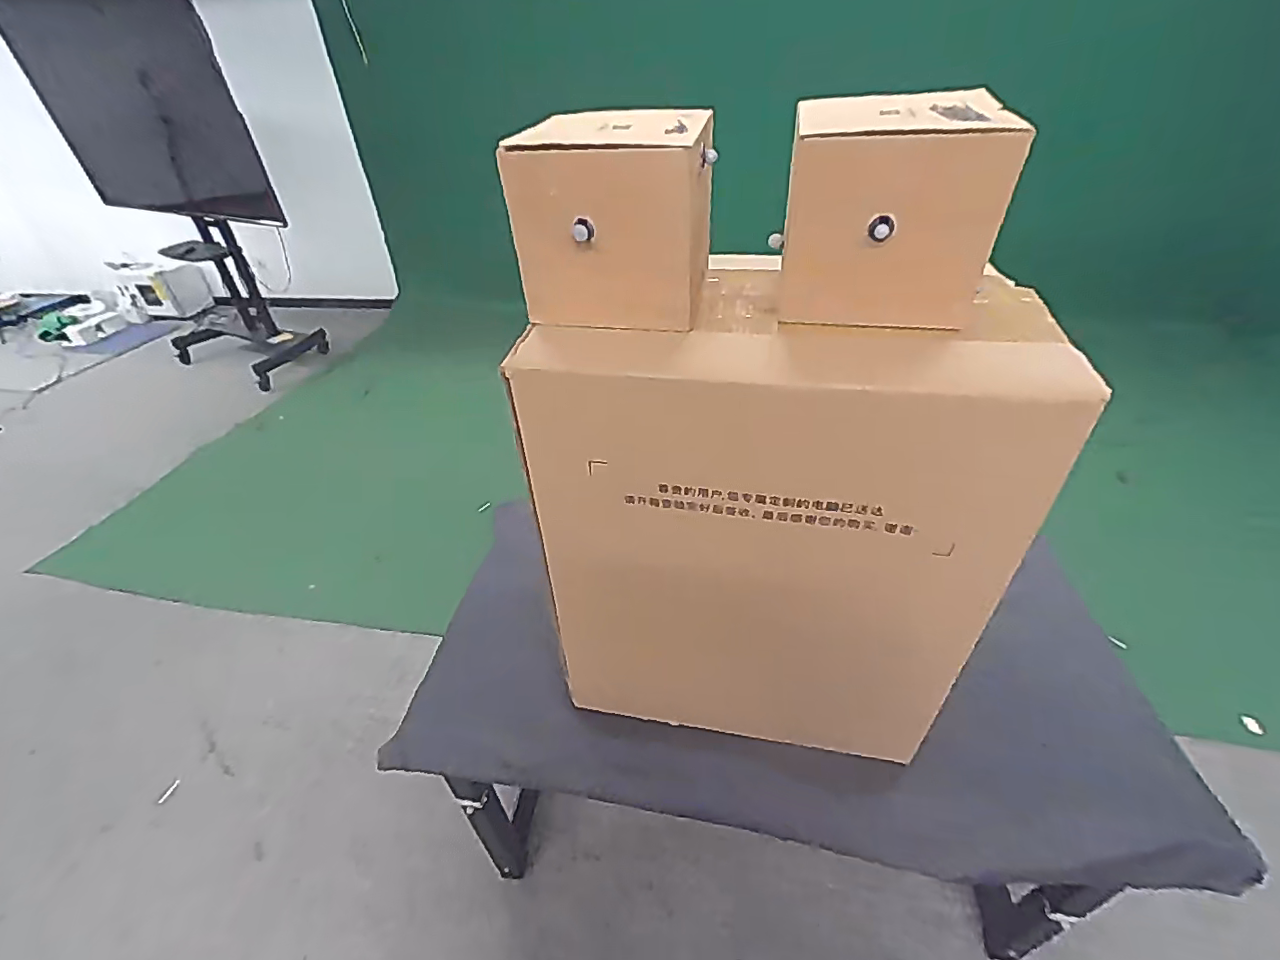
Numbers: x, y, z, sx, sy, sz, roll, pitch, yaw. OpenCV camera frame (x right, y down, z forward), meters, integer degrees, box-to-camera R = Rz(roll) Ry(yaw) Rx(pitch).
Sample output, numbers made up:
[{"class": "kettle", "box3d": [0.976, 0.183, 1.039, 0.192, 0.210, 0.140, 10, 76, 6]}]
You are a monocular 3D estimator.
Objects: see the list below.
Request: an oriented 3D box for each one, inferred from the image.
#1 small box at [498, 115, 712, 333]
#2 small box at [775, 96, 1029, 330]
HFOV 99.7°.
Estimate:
[{"class": "small box", "box3d": [-0.020, -0.268, 0.571, 0.179, 0.176, 0.168, 5, 43, 12]}, {"class": "small box", "box3d": [0.235, -0.261, 0.536, 0.179, 0.176, 0.168, 5, 43, 12]}]
